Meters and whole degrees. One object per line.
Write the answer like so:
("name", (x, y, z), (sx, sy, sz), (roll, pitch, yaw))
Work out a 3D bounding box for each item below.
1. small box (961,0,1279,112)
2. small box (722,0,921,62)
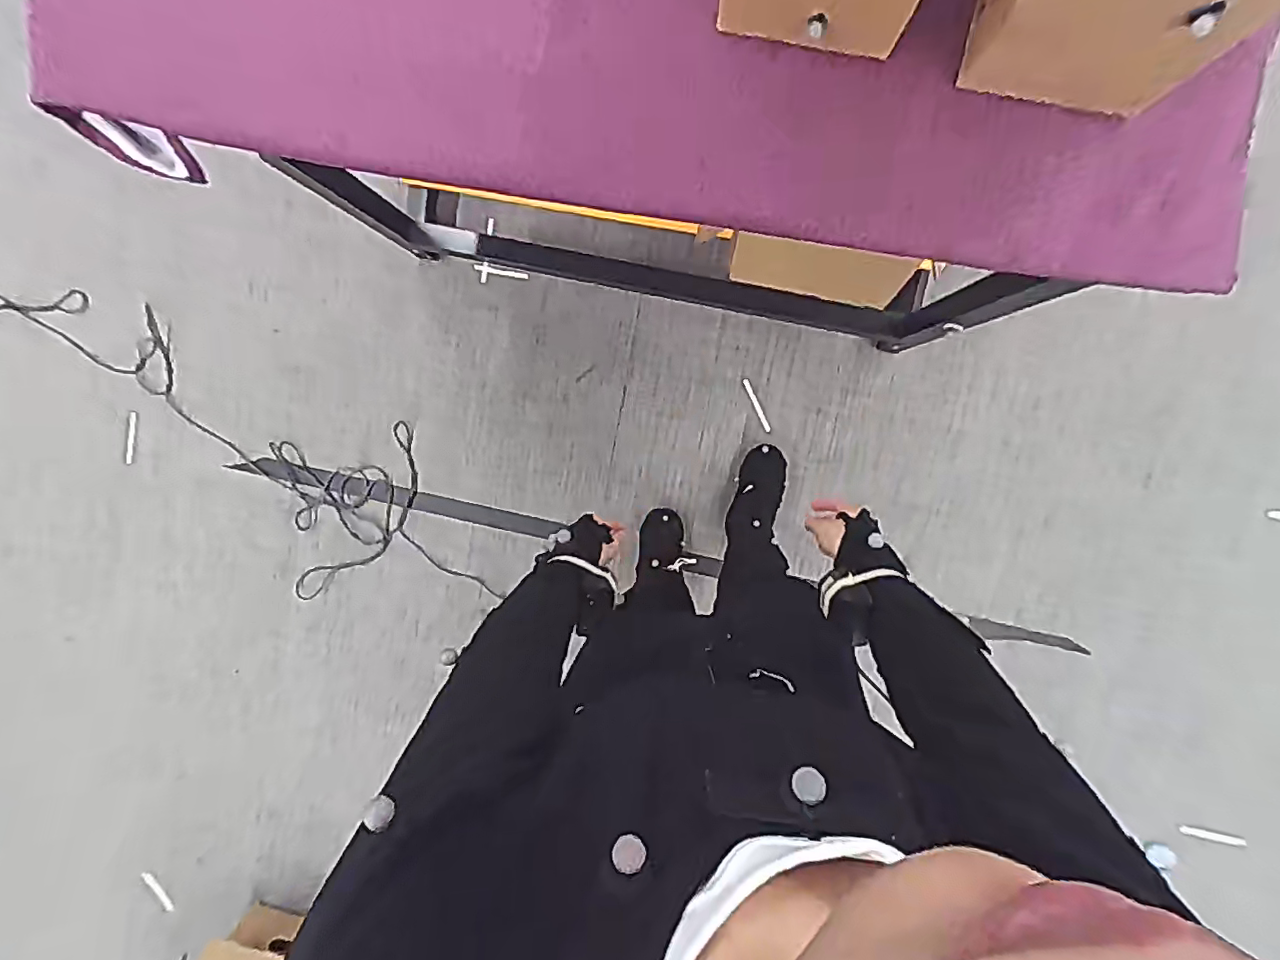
("small box", (0.416, -0.450, 0.453), (0.179, 0.176, 0.168), (13, 94, 2))
("small box", (0.179, -0.514, 0.463), (0.179, 0.176, 0.168), (13, 95, 3))
